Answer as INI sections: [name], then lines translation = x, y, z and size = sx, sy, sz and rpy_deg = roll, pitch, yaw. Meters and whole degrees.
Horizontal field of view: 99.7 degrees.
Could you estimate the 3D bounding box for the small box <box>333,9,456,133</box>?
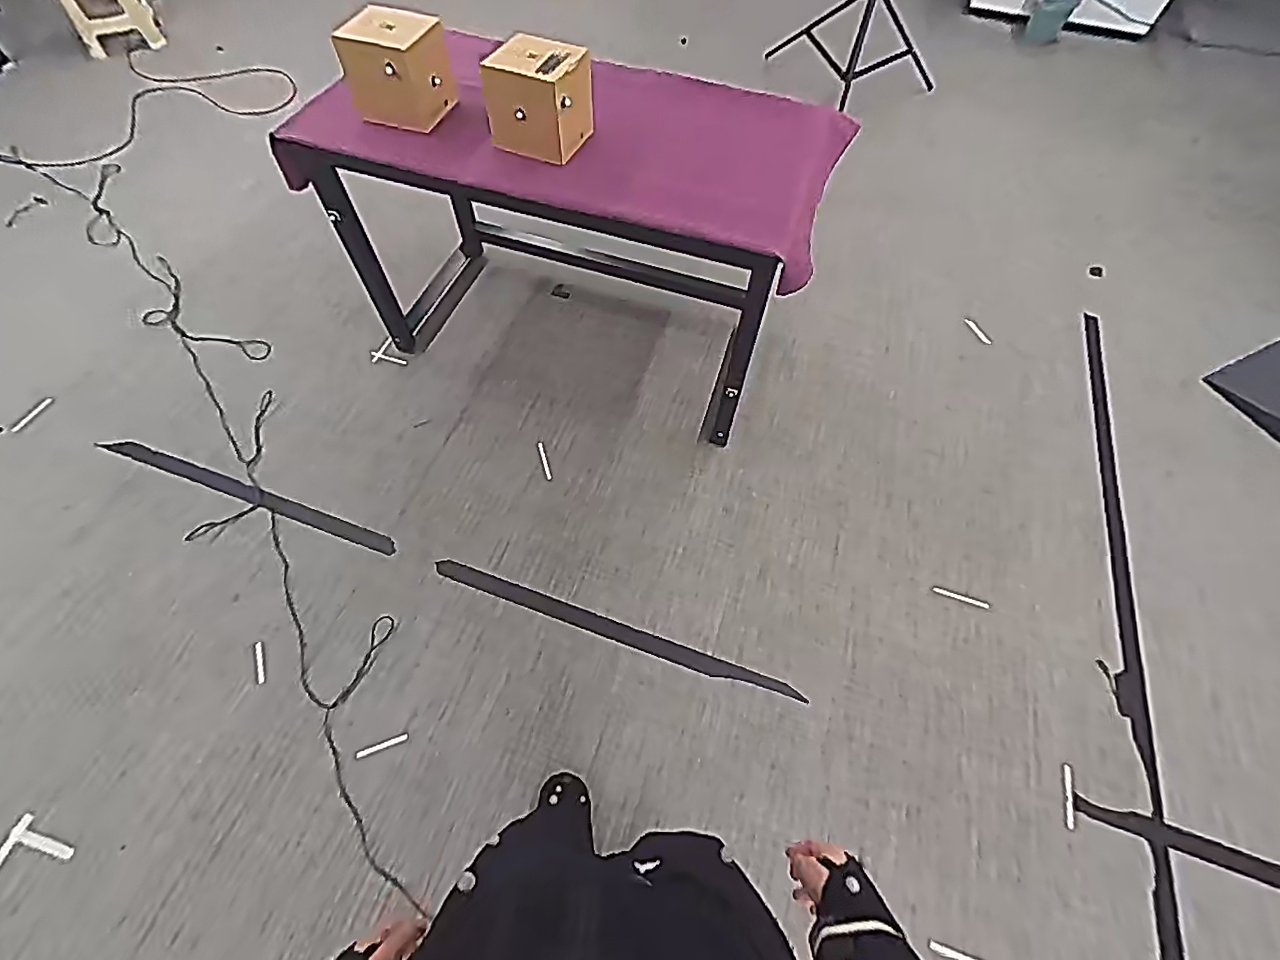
[small box]
translation = -0.548, -0.929, 1.237
size = 0.179, 0.176, 0.168
rpy_deg = 15, 59, 6
